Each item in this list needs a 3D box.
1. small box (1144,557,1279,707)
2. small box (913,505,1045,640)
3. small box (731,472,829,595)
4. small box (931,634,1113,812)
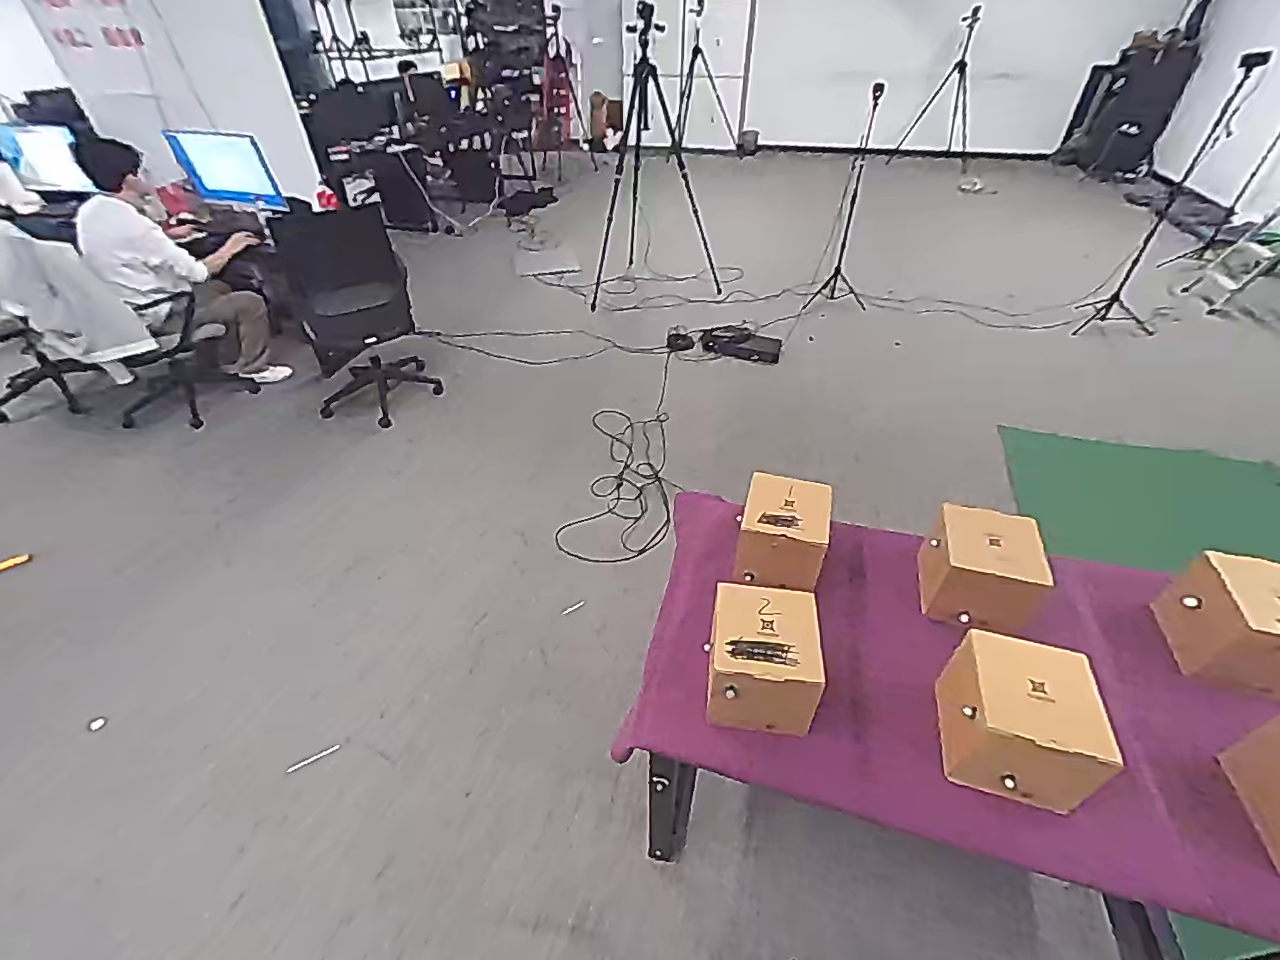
[{"bbox_3d":[1.071,0.272,0.972,0.168,0.176,0.179,11,43,13],"label":"small box"},{"bbox_3d":[0.656,0.182,1.071,0.168,0.176,0.179,12,44,14],"label":"small box"},{"bbox_3d":[0.291,0.114,1.137,0.168,0.176,0.179,12,44,12],"label":"small box"},{"bbox_3d":[0.576,0.379,0.849,0.168,0.176,0.179,12,42,12],"label":"small box"}]
